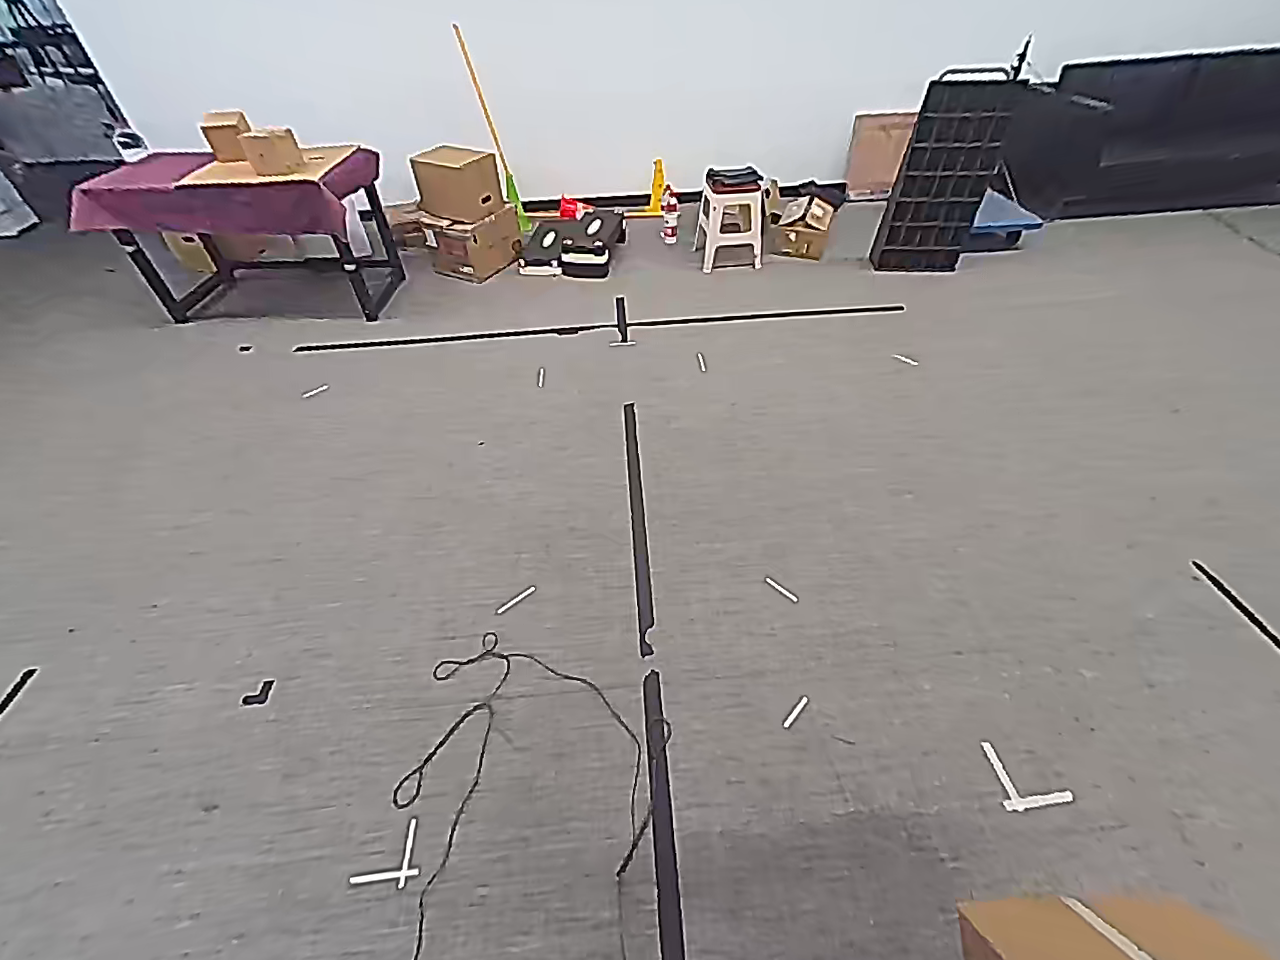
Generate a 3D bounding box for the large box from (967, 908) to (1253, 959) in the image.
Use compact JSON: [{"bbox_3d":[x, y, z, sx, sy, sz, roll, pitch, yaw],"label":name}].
[{"bbox_3d":[0.611,0.729,0.551,0.320,0.408,0.320,-3,79,3],"label":"large box"}]
